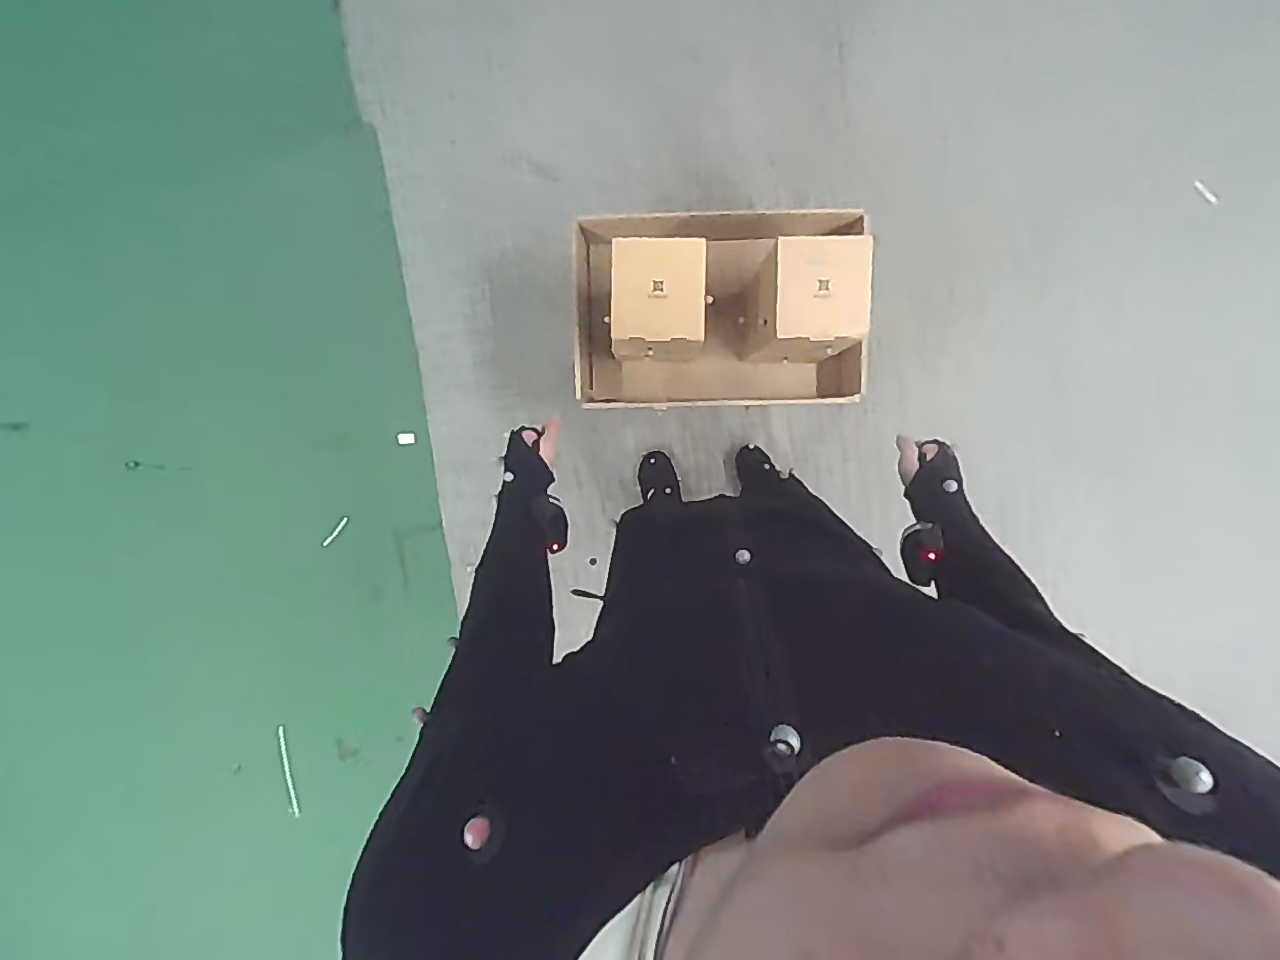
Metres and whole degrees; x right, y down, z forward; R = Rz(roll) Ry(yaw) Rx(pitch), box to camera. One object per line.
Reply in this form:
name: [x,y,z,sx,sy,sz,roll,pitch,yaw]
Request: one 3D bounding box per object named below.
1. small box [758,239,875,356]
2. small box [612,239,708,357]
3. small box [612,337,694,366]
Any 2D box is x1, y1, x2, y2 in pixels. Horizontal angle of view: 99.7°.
small box: [0.320,-0.331,1.011,0.168,0.176,0.179,1,93,1]
small box: [0.035,-0.336,1.024,0.168,0.176,0.179,1,95,1]
small box: [0.037,-0.346,1.187,0.179,0.176,0.168,3,95,1]
